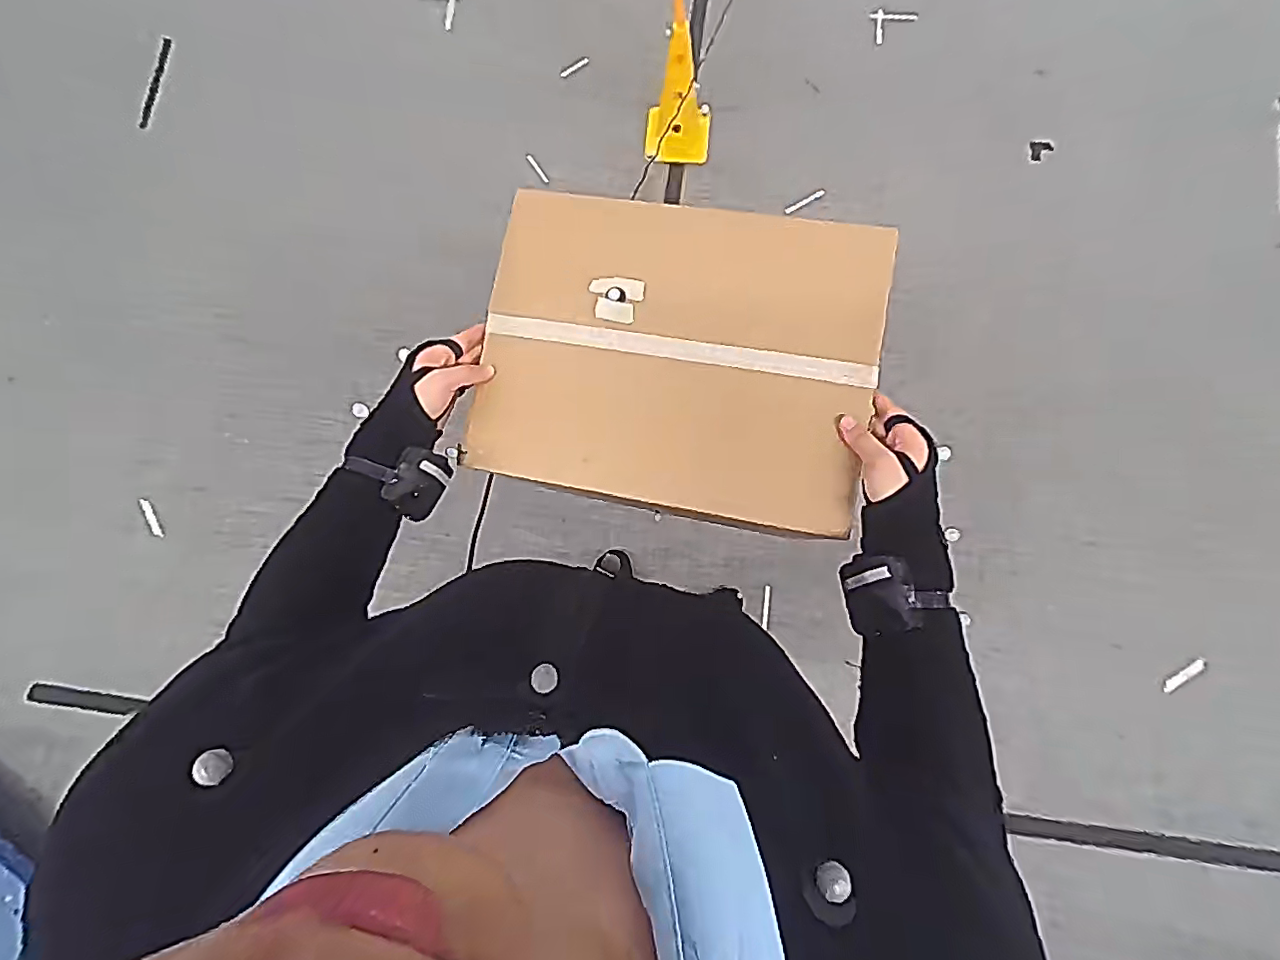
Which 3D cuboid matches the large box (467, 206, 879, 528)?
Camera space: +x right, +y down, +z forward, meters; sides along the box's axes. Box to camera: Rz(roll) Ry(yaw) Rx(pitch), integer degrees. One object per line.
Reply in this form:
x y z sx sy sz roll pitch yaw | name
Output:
0.051 -0.117 0.714 0.408 0.320 0.320 9 84 9 | large box
